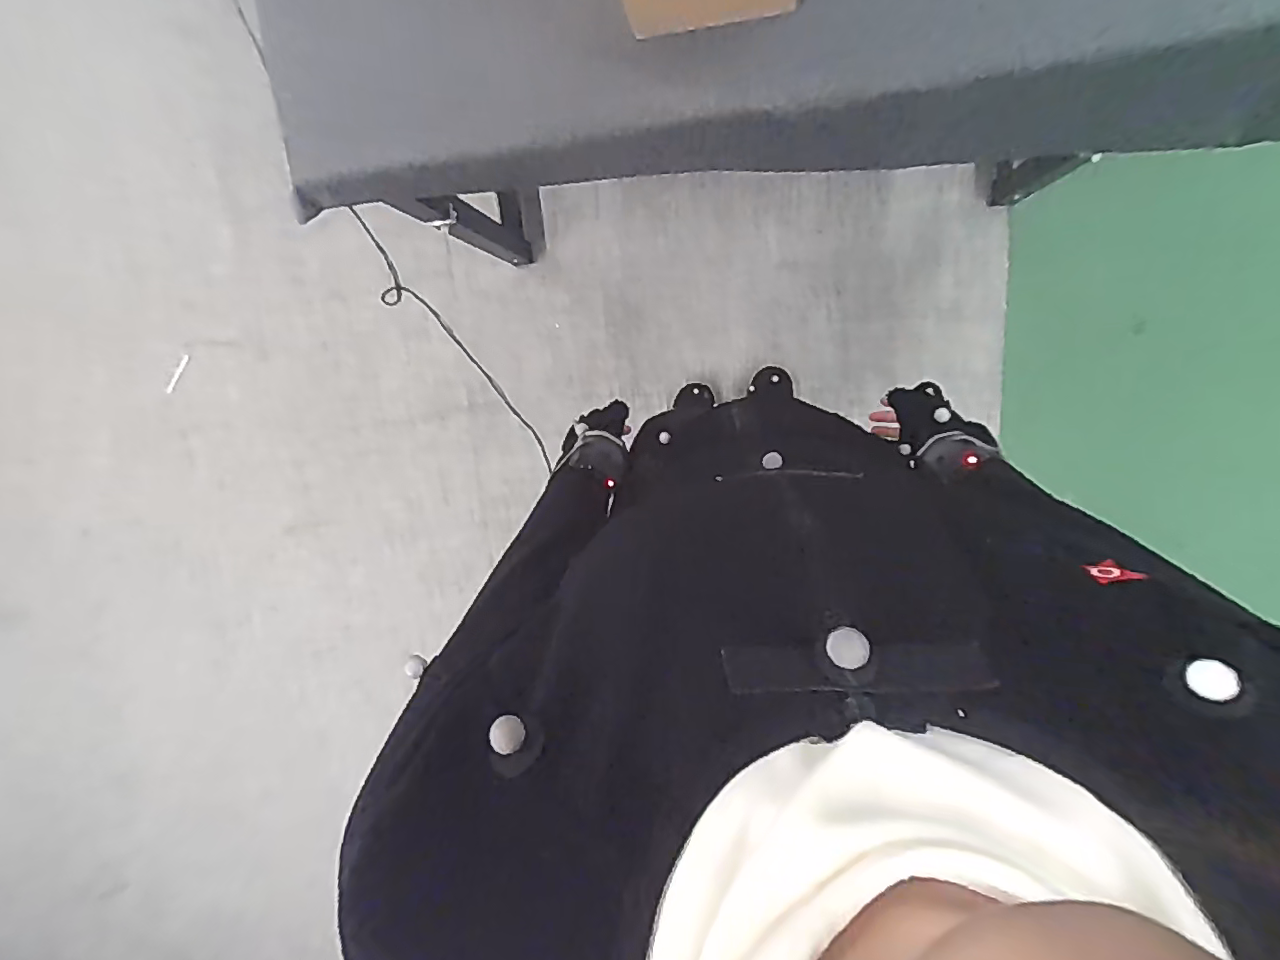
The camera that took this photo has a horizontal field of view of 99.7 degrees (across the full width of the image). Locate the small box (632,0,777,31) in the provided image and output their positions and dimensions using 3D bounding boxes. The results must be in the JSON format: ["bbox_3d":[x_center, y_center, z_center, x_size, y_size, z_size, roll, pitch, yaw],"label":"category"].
[{"bbox_3d":[0.066,-0.564,0.496,0.179,0.176,0.168,-6,102,8],"label":"small box"}]
